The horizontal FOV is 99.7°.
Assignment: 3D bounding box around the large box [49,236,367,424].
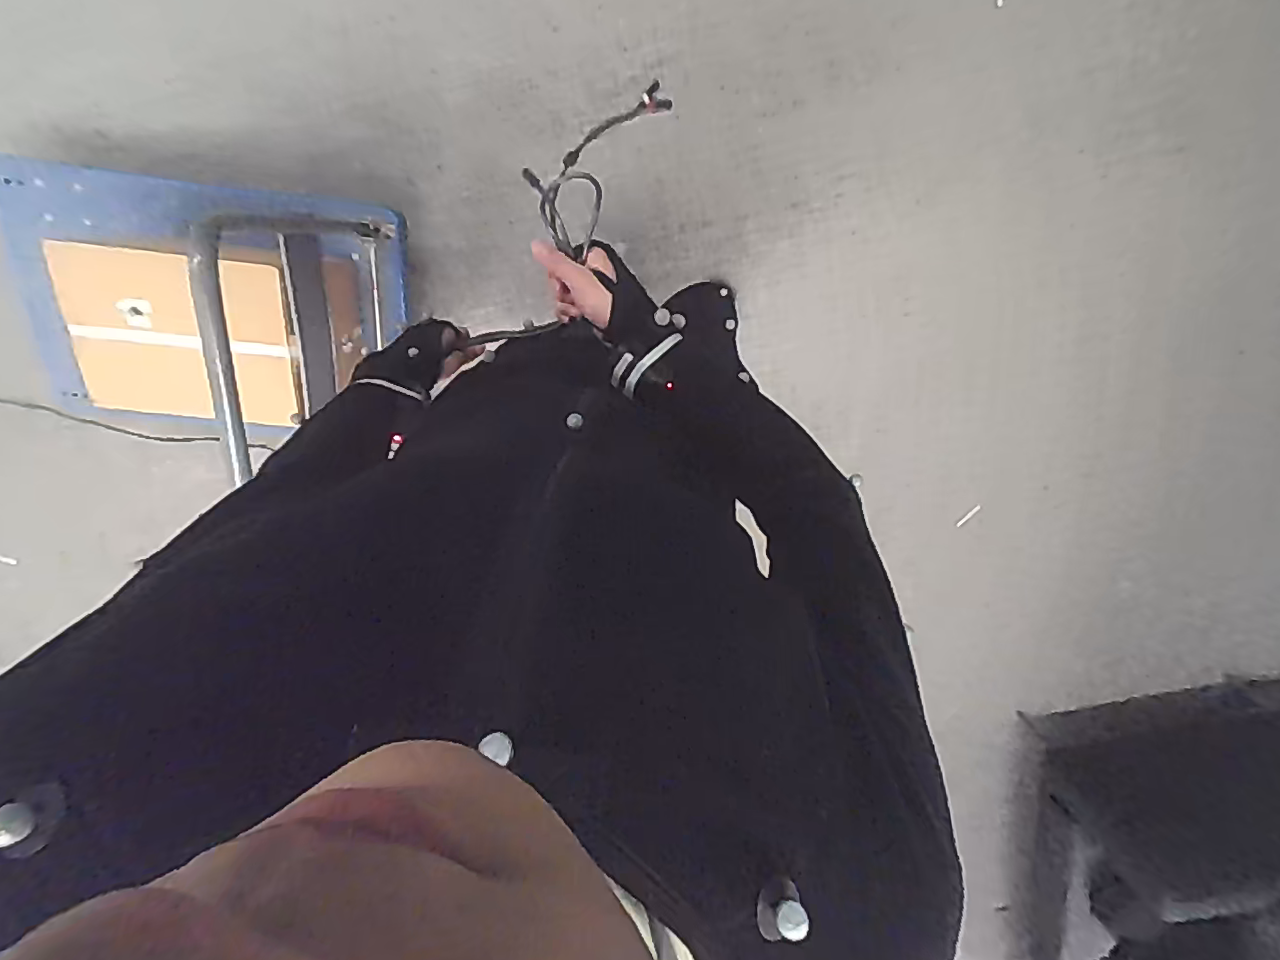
[{"bbox_3d":[-0.868,-0.333,1.163,0.408,0.320,0.320,6,114,-4],"label":"large box"}]
